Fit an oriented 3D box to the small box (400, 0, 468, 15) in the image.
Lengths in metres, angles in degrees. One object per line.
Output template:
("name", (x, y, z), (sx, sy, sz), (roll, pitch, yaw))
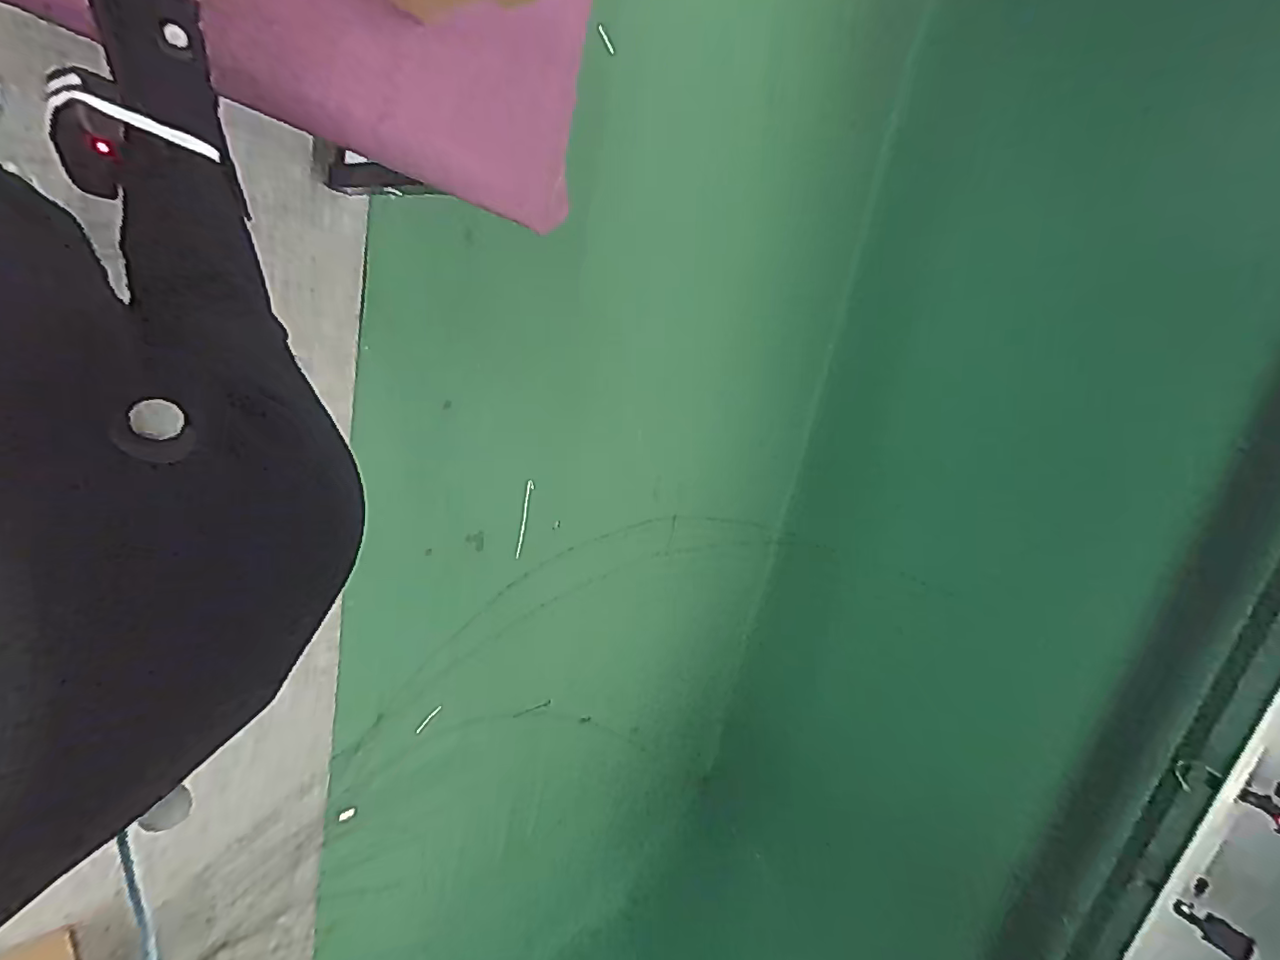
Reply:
("small box", (-0.230, -0.619, 0.541), (0.168, 0.176, 0.179), (1, 108, -54))
